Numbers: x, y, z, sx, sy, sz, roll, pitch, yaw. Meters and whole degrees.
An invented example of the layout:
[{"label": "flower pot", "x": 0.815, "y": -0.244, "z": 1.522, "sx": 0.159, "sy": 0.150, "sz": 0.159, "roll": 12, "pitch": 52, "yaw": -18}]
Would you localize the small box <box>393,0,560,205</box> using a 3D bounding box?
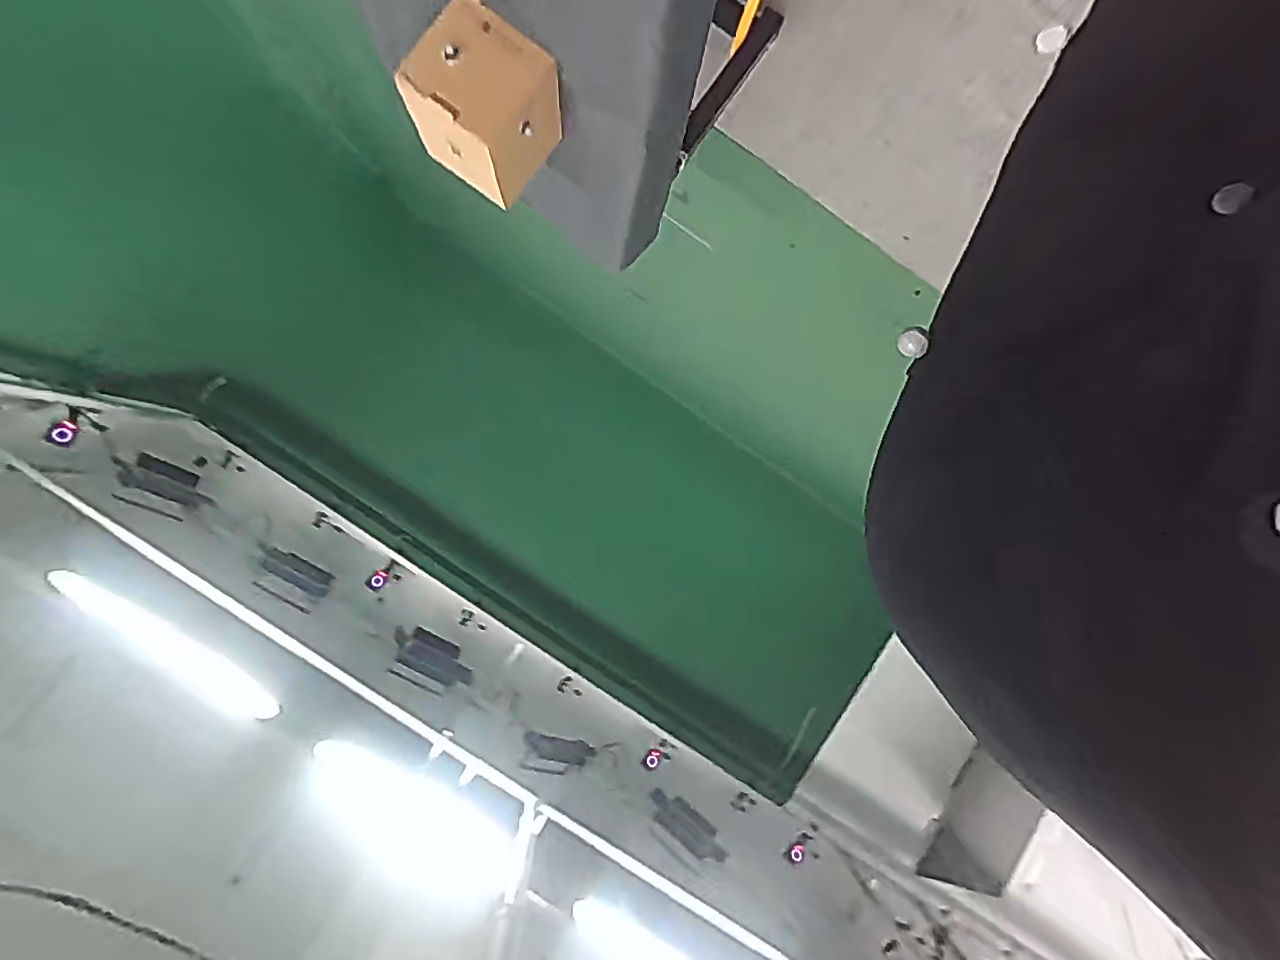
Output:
[{"label": "small box", "x": -0.240, "y": -0.585, "z": 0.841, "sx": 0.168, "sy": 0.176, "sz": 0.179, "roll": 36, "pitch": 176, "yaw": -3}]
